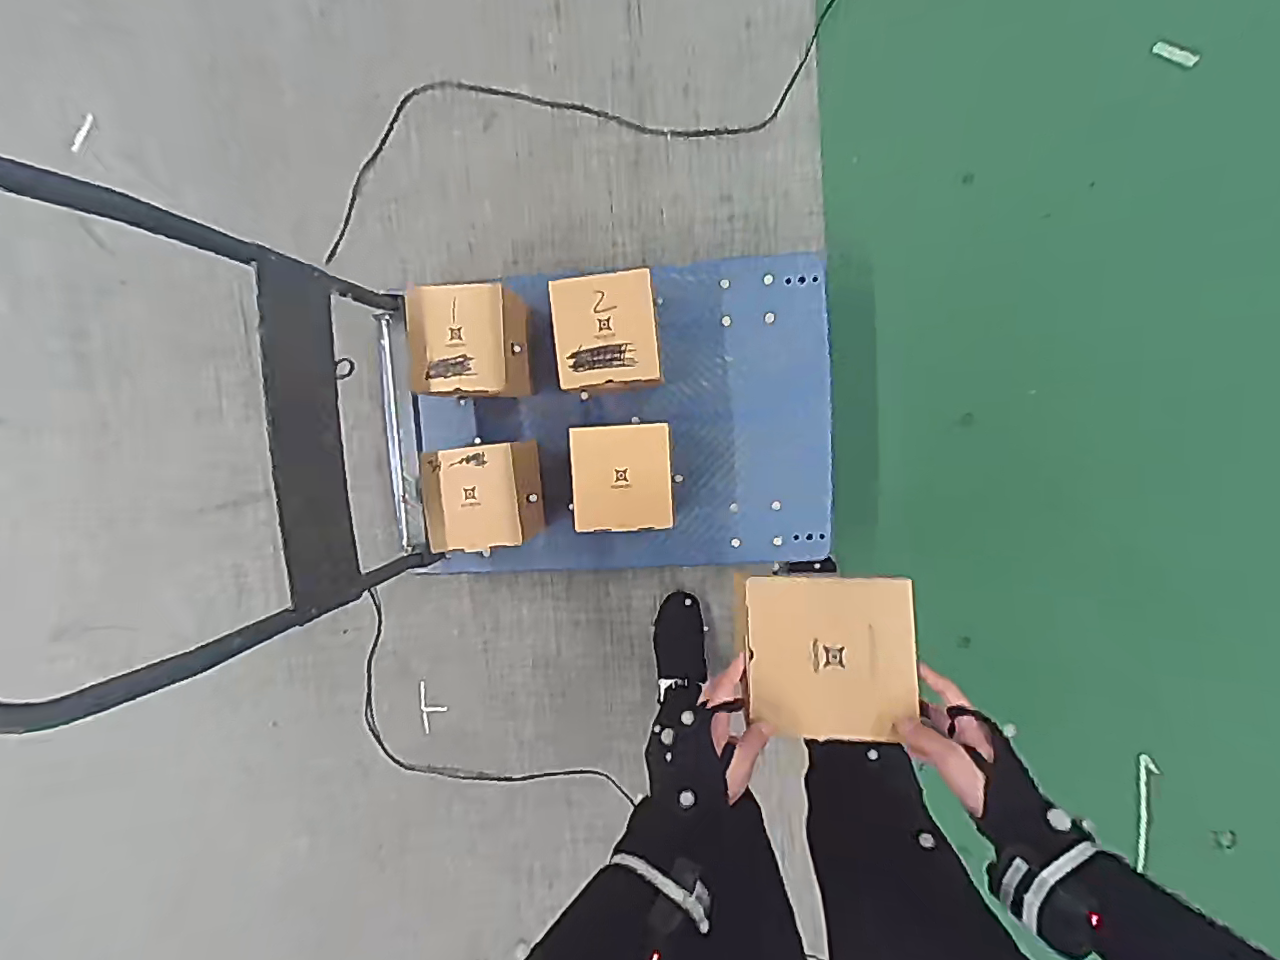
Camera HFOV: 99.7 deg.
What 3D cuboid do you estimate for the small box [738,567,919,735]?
[{"bbox_3d":[0.210,0.191,0.651,0.179,0.176,0.168,0,82,6],"label":"small box"}]

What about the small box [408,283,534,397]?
[{"bbox_3d":[-0.291,-0.239,0.963,0.168,0.176,0.179,0,95,4],"label":"small box"}]

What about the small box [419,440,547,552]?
[{"bbox_3d":[-0.276,0.022,0.987,0.168,0.176,0.179,-5,96,5],"label":"small box"}]
